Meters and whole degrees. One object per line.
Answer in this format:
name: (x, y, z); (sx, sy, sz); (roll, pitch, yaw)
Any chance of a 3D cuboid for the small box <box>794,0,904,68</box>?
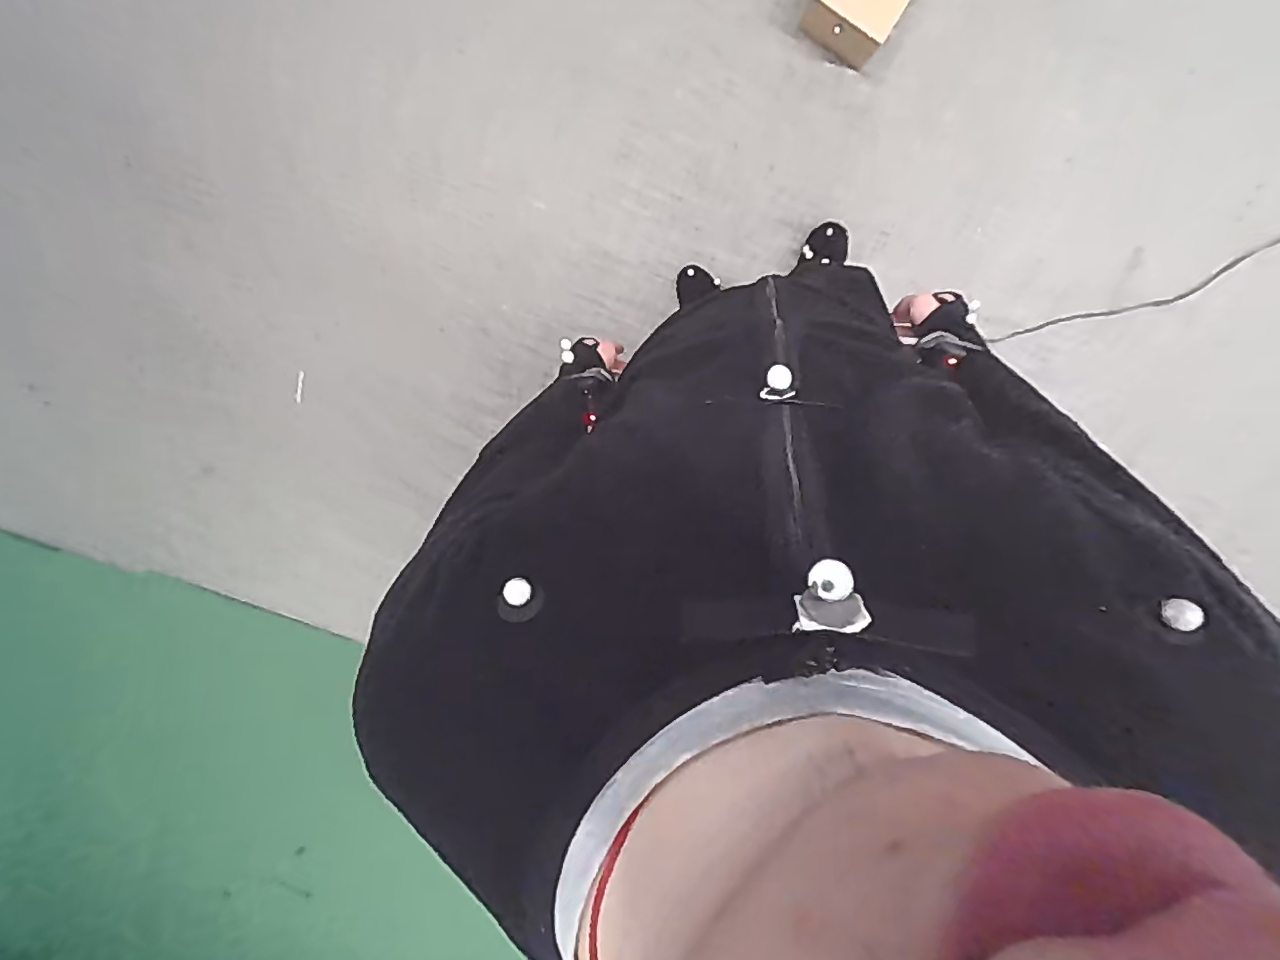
small box: (0.441, -0.997, 1.111); (0.179, 0.176, 0.168); (30, 113, -7)
